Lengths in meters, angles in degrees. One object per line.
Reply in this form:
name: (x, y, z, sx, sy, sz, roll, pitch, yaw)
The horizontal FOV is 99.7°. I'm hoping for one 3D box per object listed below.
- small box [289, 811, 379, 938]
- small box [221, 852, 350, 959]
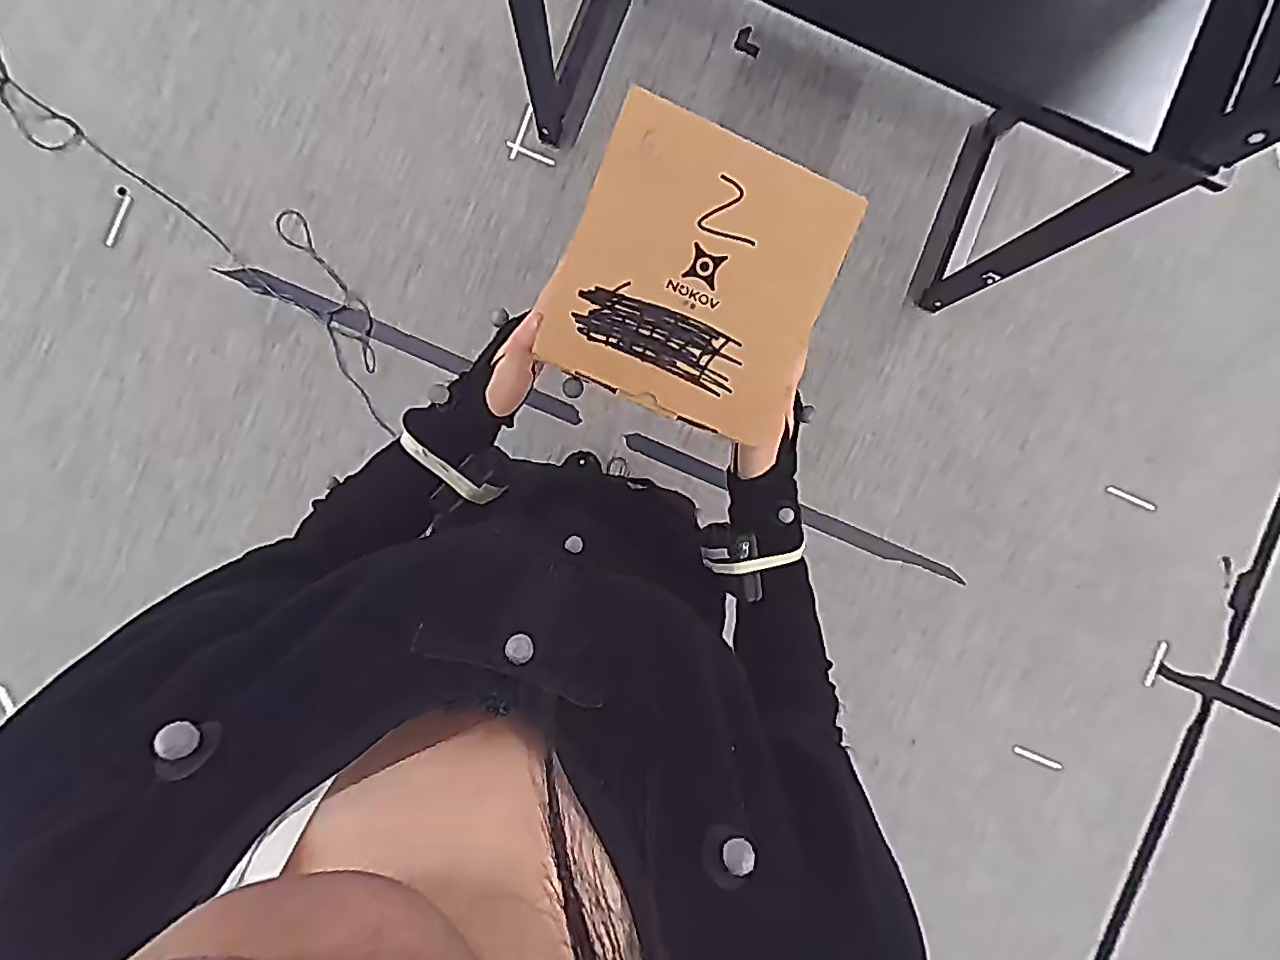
small box: (-0.807, 1.007, 1.393, 0.168, 0.176, 0.179, 21, 89, -4)
small box: (-0.799, 1.009, 1.231, 0.168, 0.176, 0.179, 25, 89, -3)
